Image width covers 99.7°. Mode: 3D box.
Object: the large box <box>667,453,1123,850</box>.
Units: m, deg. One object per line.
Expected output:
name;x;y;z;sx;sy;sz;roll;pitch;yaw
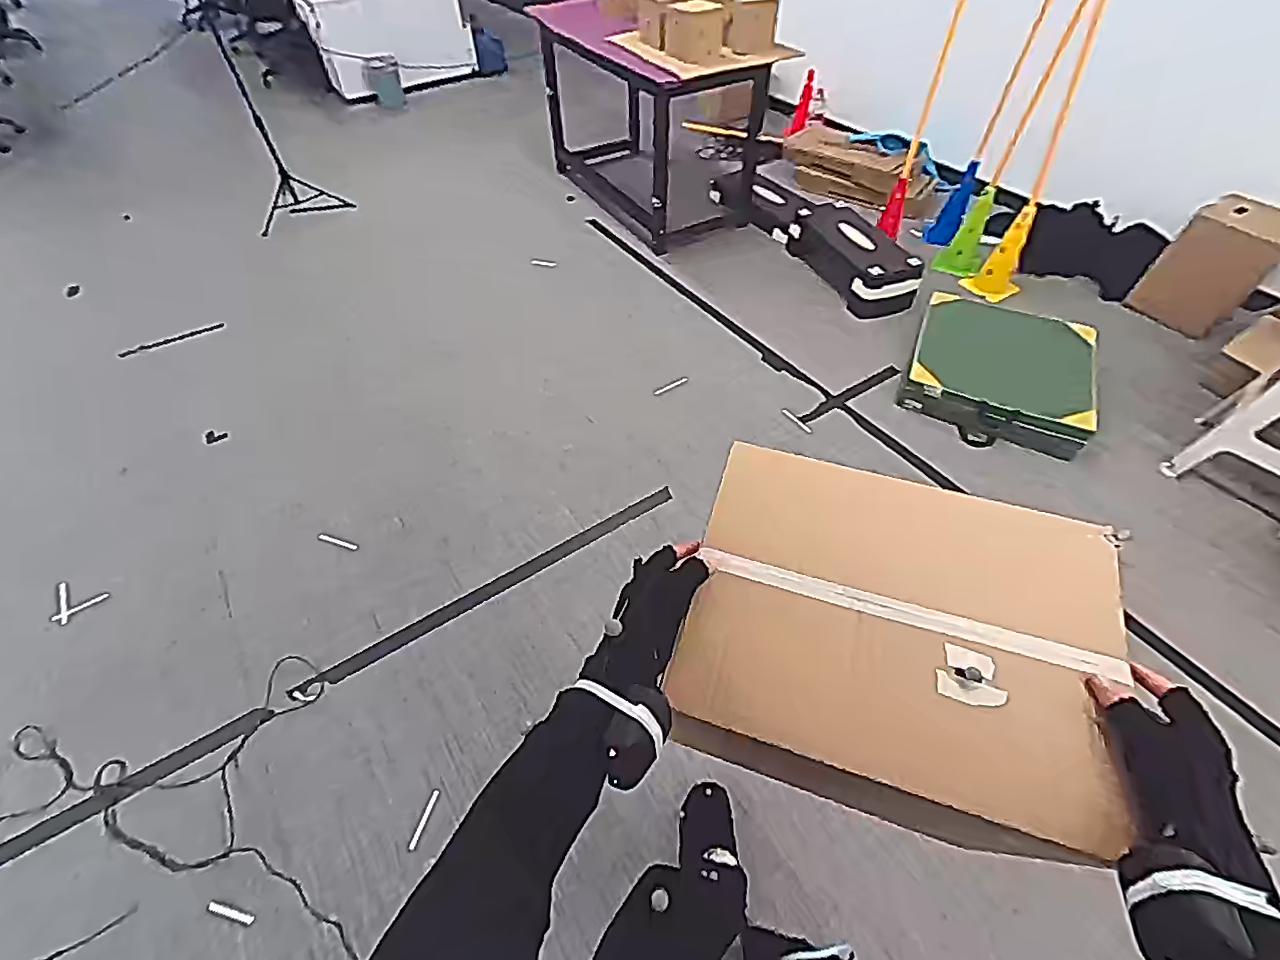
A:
large box;0.264;0.211;0.682;0.408;0.320;0.320;15;62;12
